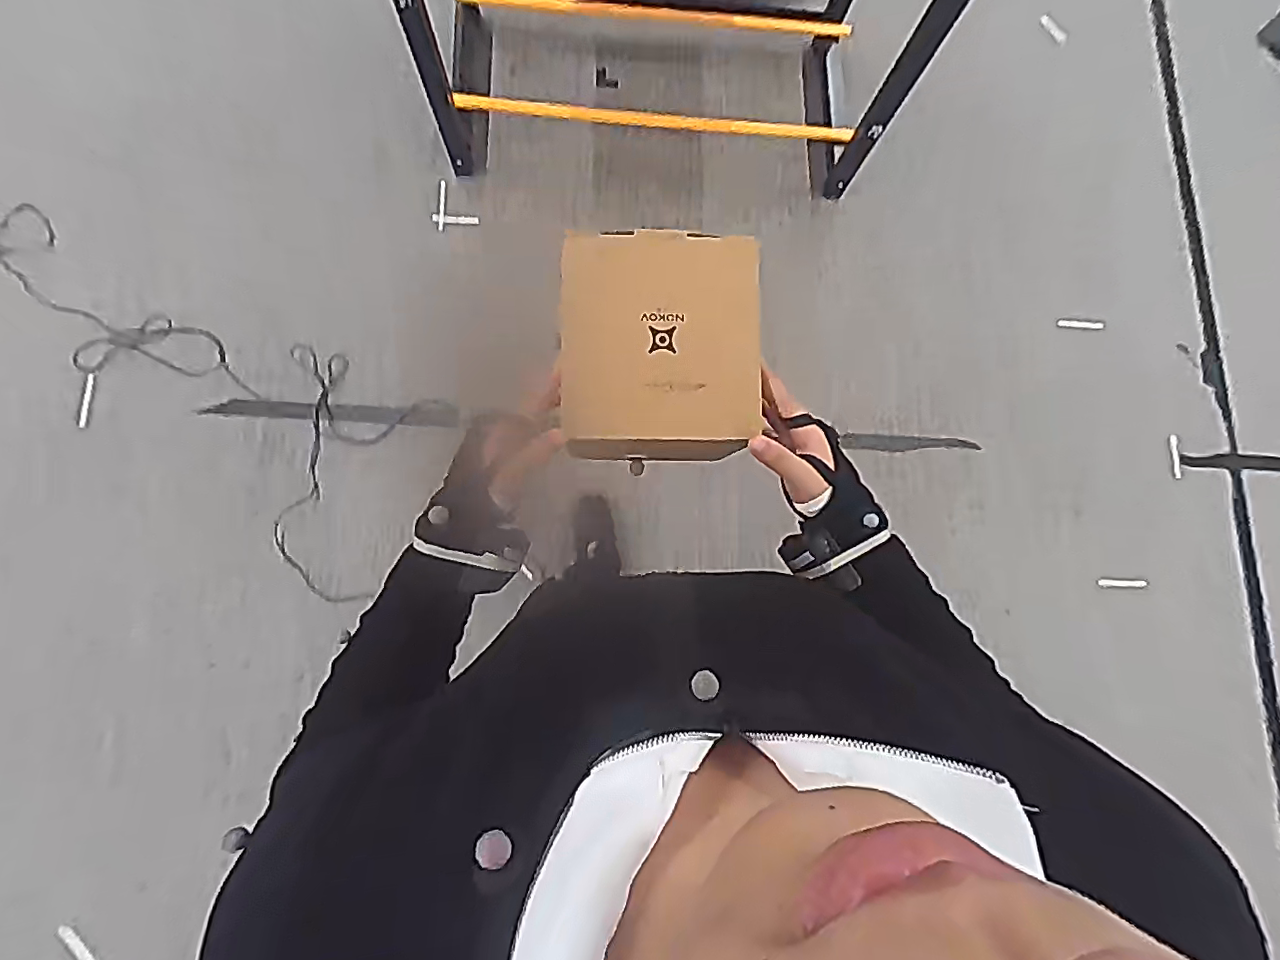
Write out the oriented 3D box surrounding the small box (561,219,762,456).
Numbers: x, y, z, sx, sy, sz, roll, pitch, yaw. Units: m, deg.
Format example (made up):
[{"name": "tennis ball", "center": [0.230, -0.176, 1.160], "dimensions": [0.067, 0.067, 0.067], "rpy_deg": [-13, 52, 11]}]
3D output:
[{"name": "small box", "center": [0.013, -0.120, 0.518], "dimensions": [0.168, 0.176, 0.179], "rpy_deg": [0, 87, -3]}]
